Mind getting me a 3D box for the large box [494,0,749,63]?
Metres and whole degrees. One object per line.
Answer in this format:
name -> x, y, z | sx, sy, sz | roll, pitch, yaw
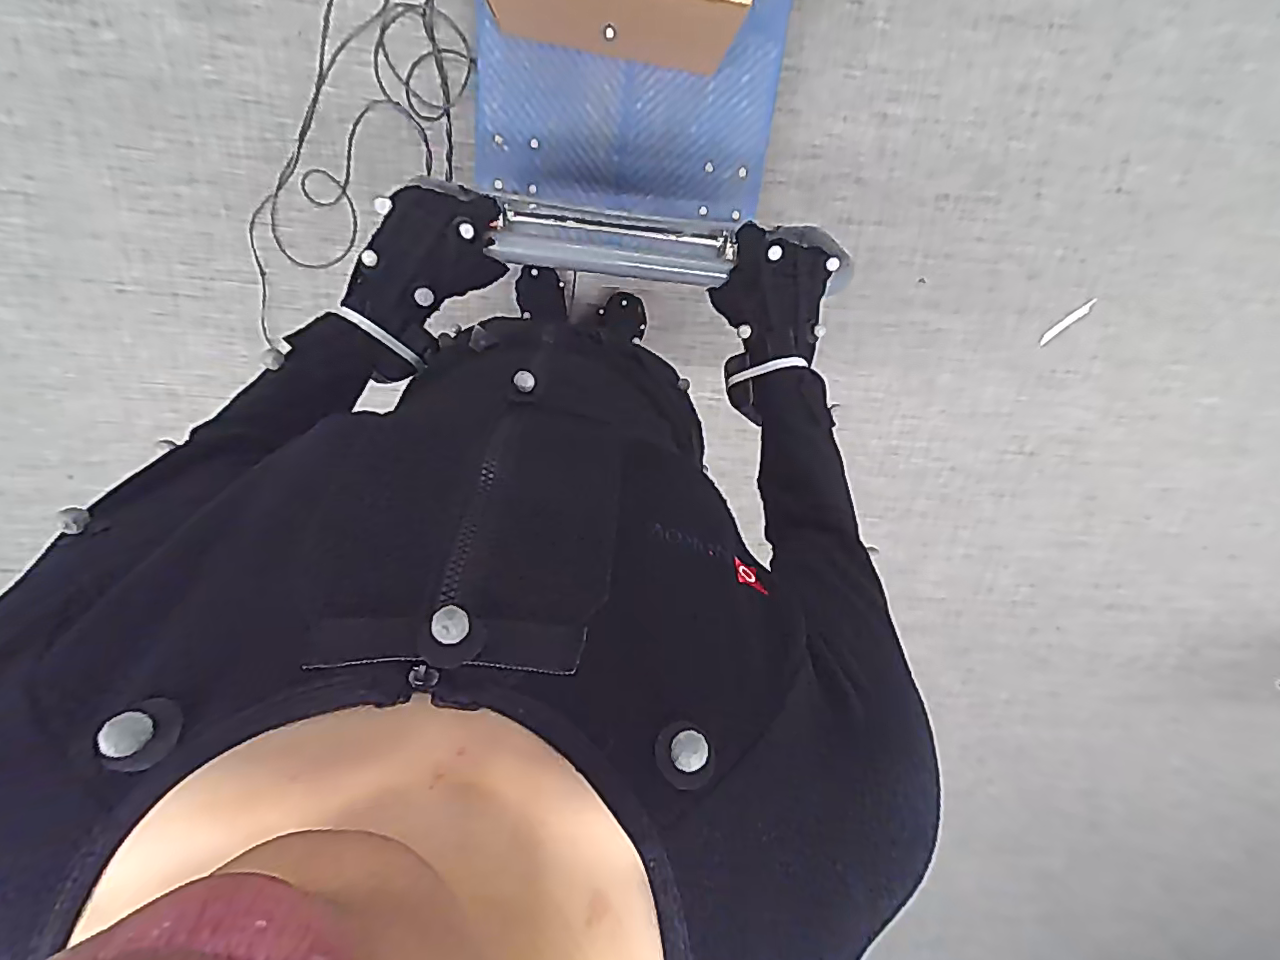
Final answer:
large box -> -0.025, -0.895, 0.828 | 0.408, 0.320, 0.320 | 7, 112, -5
